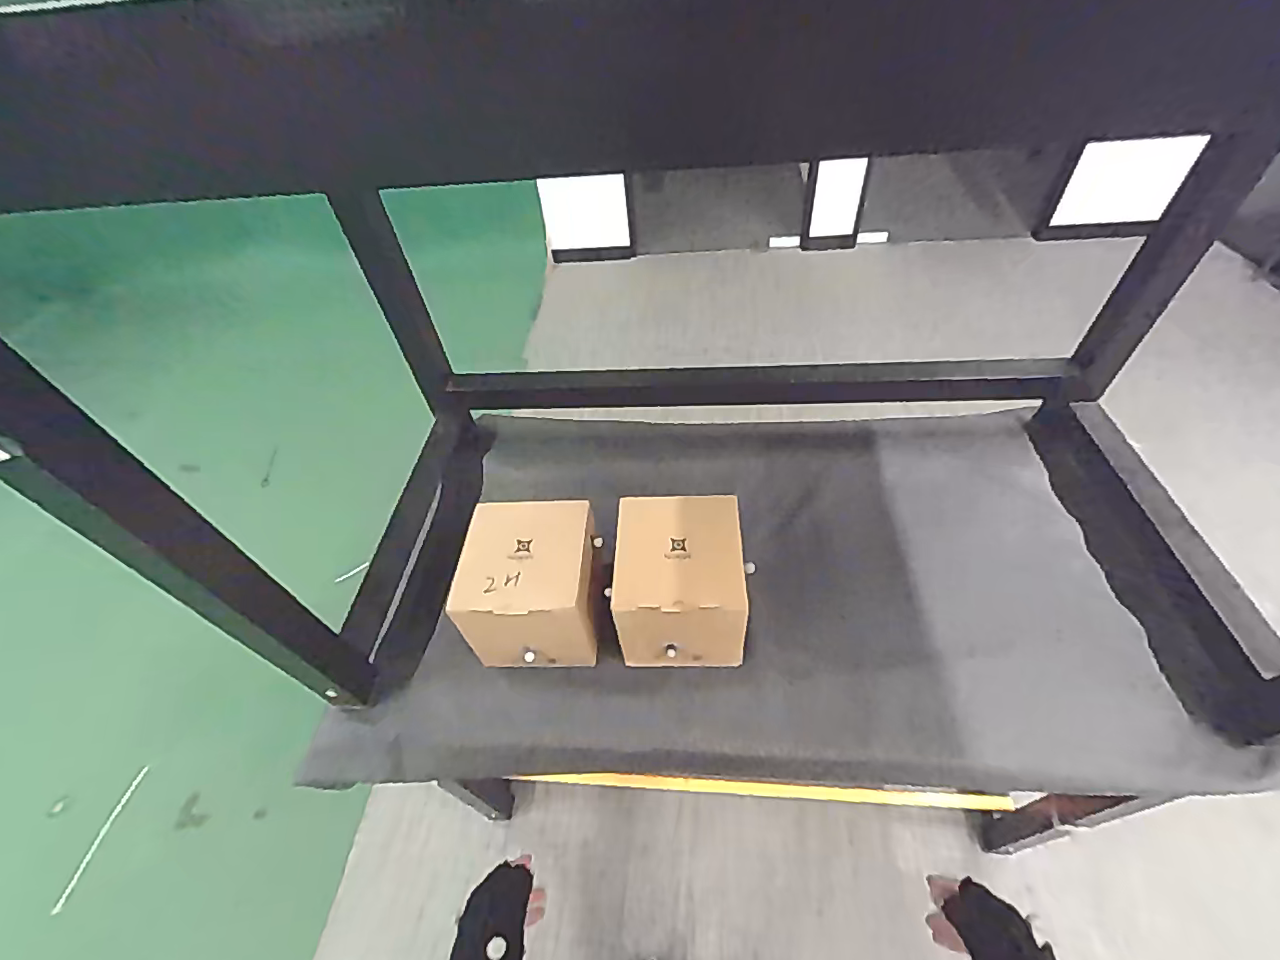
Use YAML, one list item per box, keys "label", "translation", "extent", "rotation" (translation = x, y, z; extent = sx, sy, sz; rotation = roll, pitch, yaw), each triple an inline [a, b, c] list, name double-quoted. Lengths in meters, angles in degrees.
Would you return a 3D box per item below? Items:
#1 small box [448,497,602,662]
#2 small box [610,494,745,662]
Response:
- label: "small box"
  translation: [-0.149, 0.143, 0.777]
  extent: [0.168, 0.176, 0.179]
  rotation: [-2, 48, 5]
- label: "small box"
  translation: [0.054, 0.138, 0.764]
  extent: [0.168, 0.176, 0.179]
  rotation: [-2, 48, 5]
